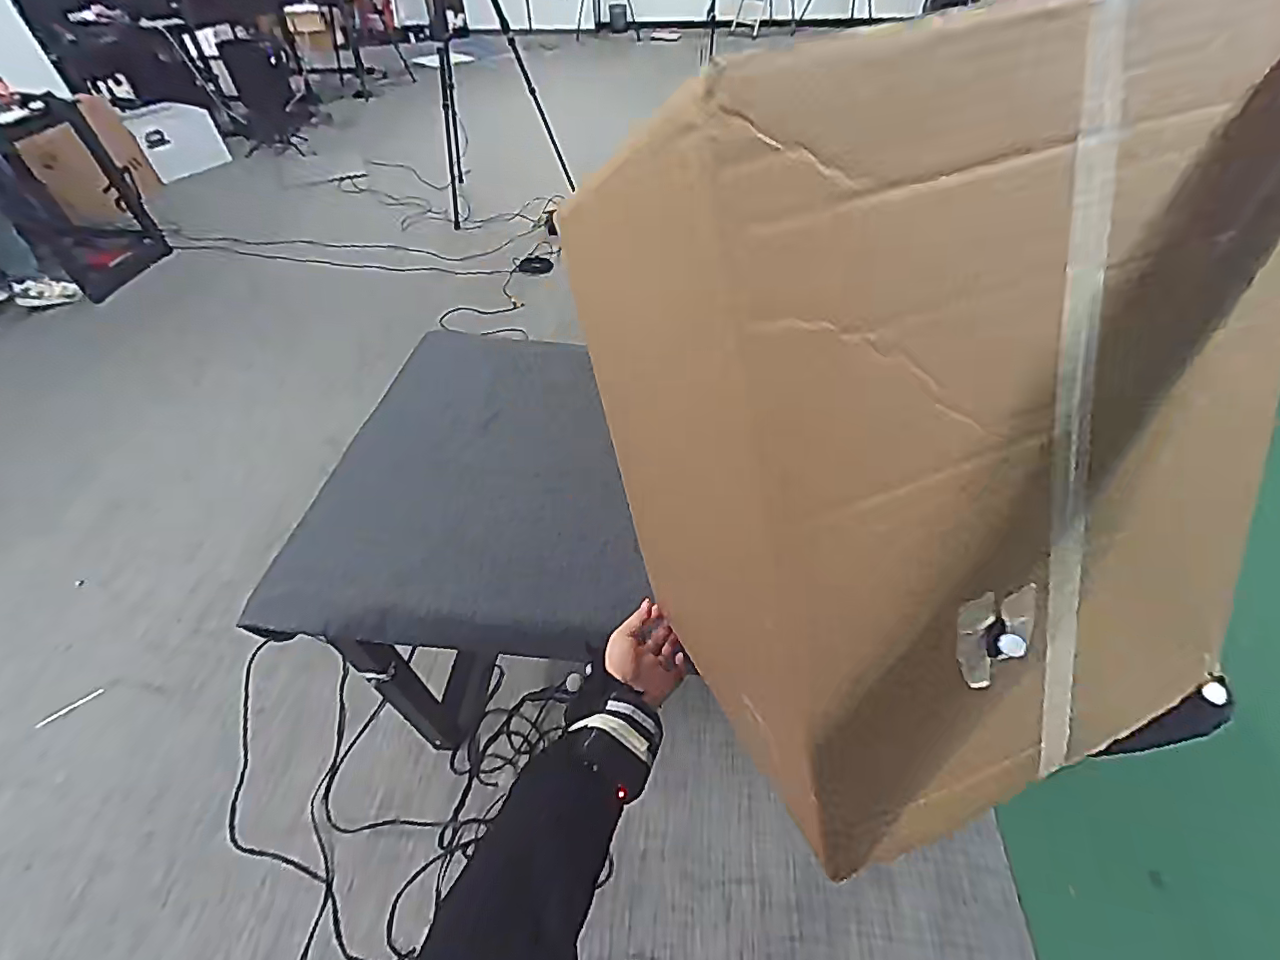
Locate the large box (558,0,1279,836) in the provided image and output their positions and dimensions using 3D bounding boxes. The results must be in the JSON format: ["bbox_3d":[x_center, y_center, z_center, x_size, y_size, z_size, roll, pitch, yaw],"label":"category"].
[{"bbox_3d":[0.164,-0.048,0.424,0.320,0.408,0.320,-20,24,-11],"label":"large box"}]
